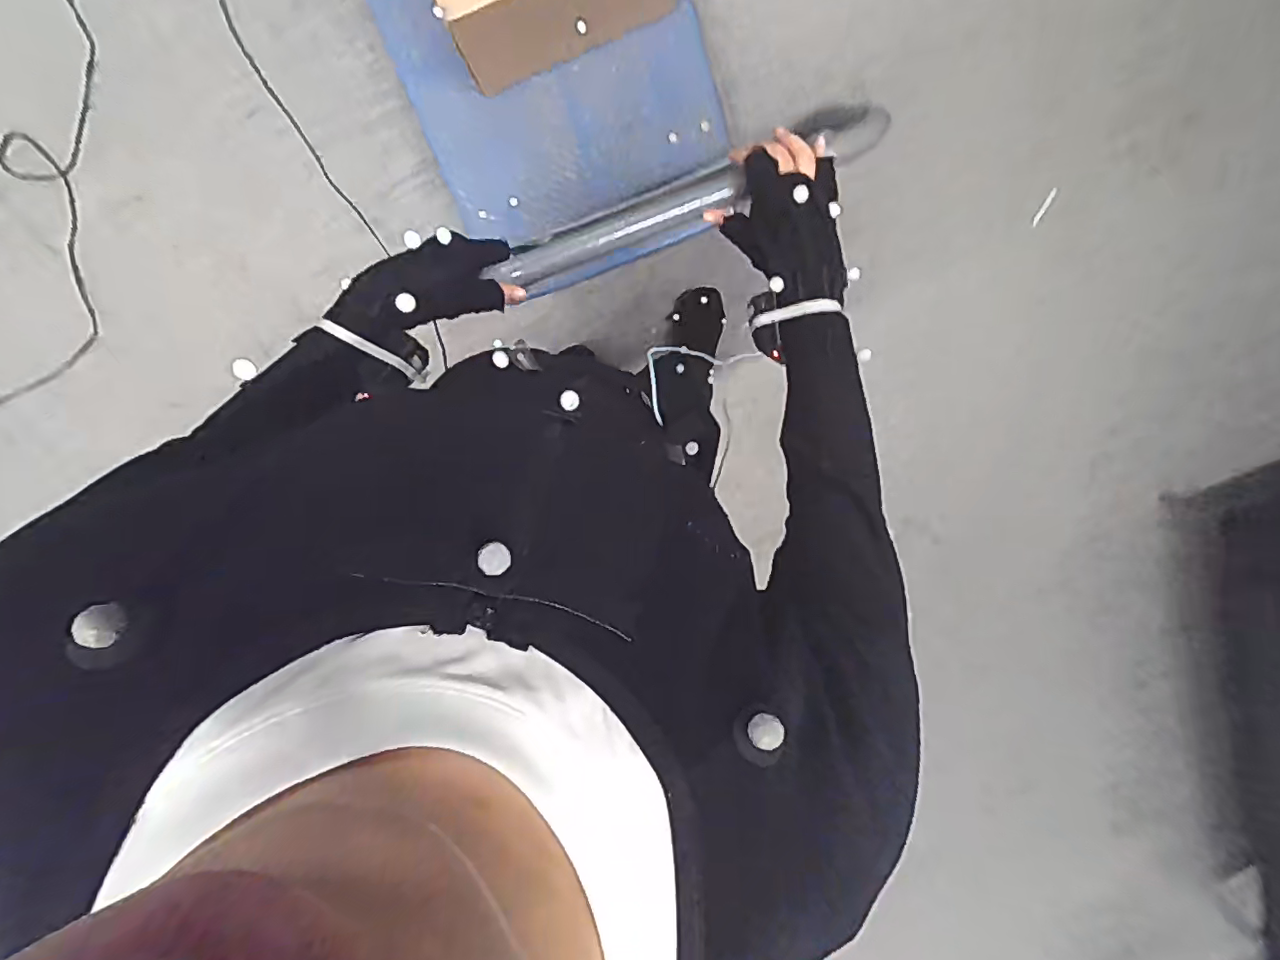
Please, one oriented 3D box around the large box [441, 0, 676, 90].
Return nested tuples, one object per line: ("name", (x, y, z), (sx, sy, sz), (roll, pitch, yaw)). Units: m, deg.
("large box", (-0.154, -0.913, 0.855), (0.408, 0.320, 0.320), (-22, 108, 4))
